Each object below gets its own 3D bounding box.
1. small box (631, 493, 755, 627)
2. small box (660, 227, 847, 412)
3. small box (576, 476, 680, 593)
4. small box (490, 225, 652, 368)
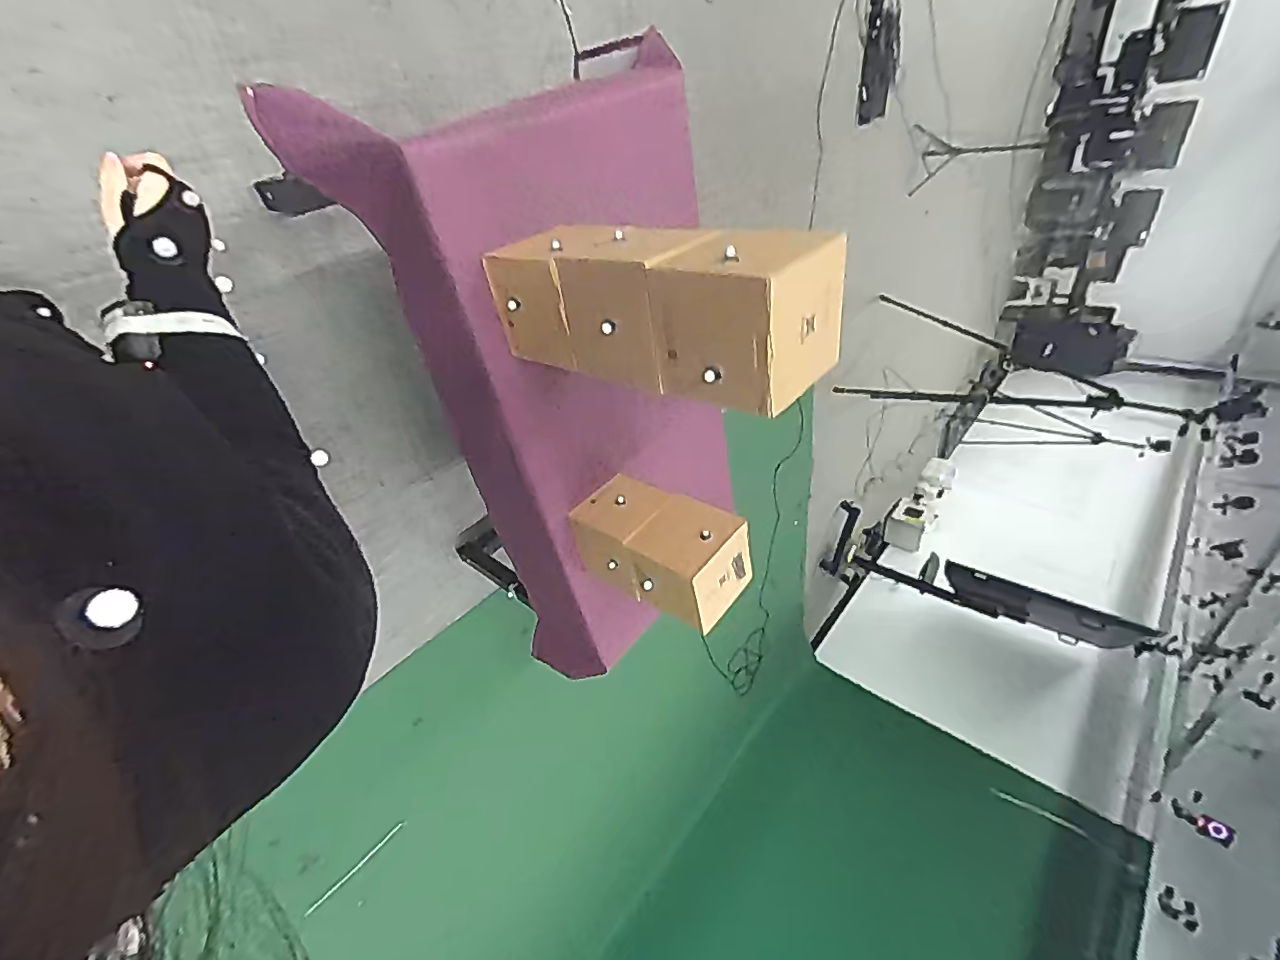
[{"bbox_3d":[0.109,0.151,1.084,0.179,0.176,0.168,-41,134,-30],"label":"small box"},{"bbox_3d":[0.138,-0.209,0.681,0.179,0.176,0.168,-39,134,-33],"label":"small box"},{"bbox_3d":[-0.018,0.108,1.181,0.168,0.176,0.179,-39,134,-32],"label":"small box"},{"bbox_3d":[-0.108,-0.305,0.876,0.179,0.176,0.168,-39,134,-32],"label":"small box"}]
